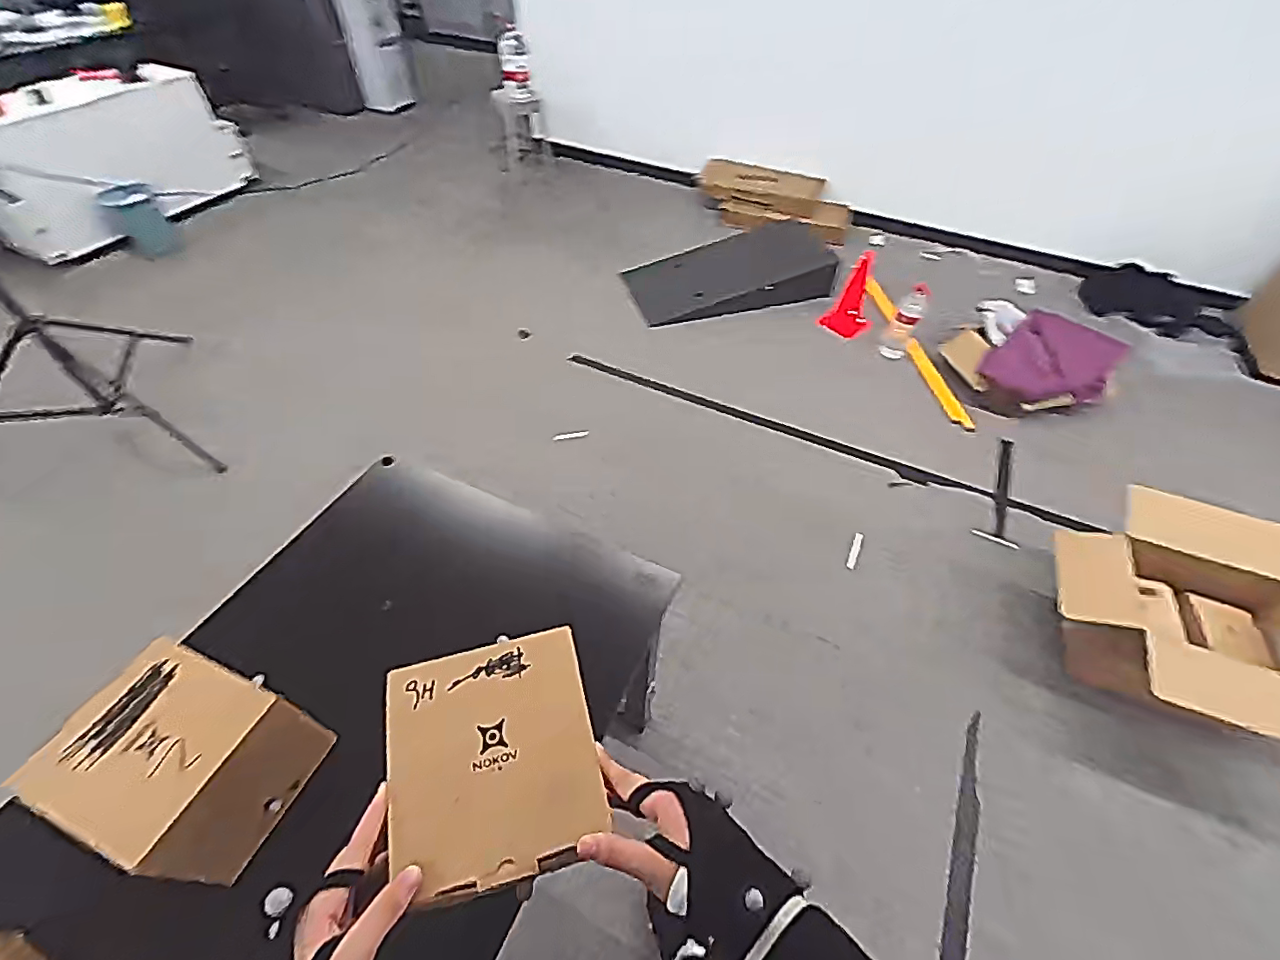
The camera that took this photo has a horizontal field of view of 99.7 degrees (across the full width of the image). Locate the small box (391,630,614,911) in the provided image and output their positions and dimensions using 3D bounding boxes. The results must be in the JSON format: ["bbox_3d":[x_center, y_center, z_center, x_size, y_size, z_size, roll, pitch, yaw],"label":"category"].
[{"bbox_3d":[-0.121,0.269,0.509,0.168,0.176,0.179,-11,55,-10],"label":"small box"}]
